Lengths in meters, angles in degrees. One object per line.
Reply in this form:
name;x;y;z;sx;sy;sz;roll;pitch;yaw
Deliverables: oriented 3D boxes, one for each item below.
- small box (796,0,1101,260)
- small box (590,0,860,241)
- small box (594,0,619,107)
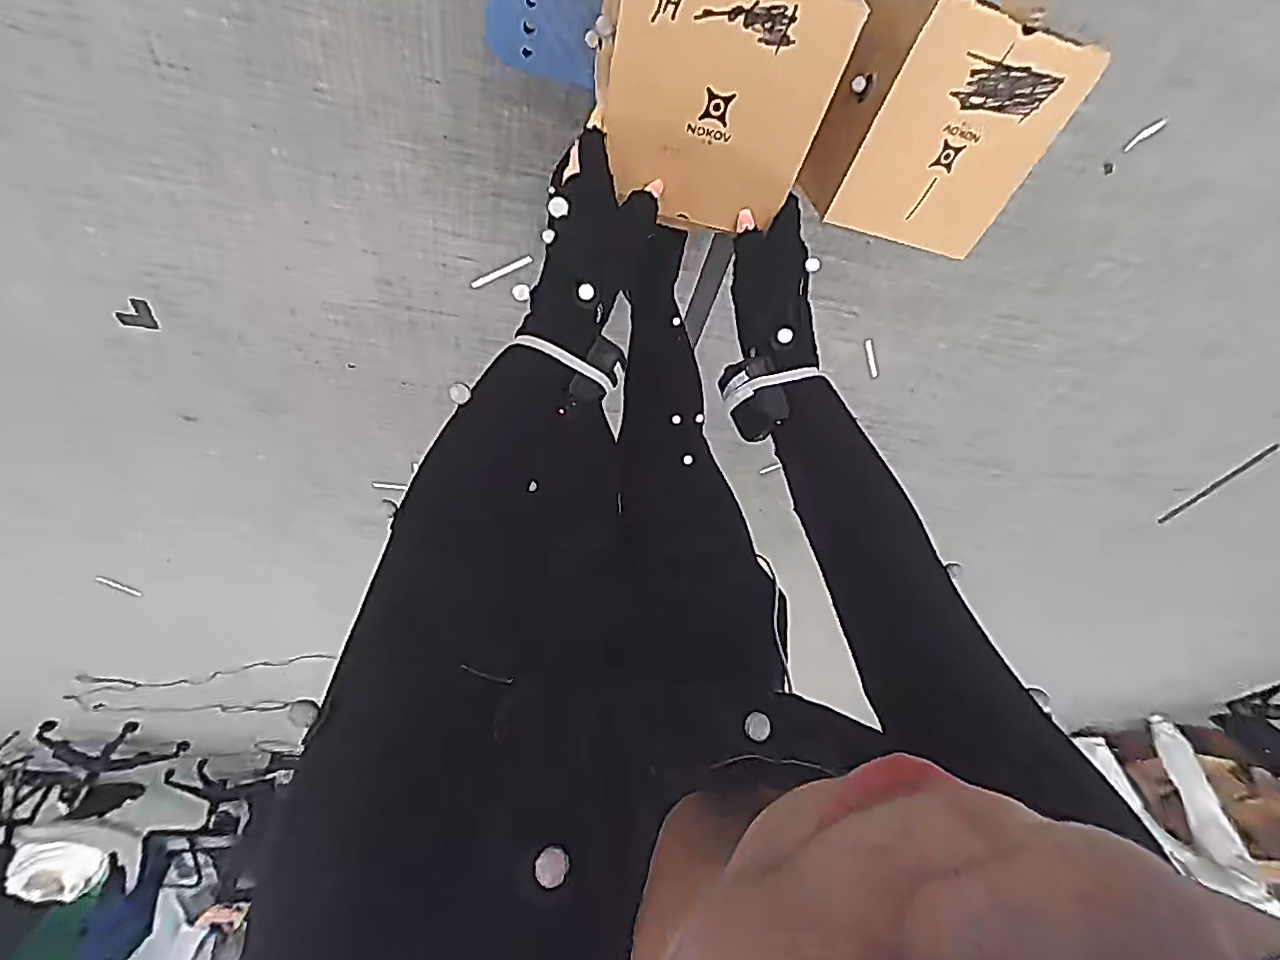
small box;0.267;-0.352;0.527;0.168;0.176;0.179;8;138;-14
small box;0.057;-0.347;0.464;0.168;0.176;0.179;8;146;-10
small box;0.046;-0.506;0.581;0.168;0.176;0.179;5;137;-12
